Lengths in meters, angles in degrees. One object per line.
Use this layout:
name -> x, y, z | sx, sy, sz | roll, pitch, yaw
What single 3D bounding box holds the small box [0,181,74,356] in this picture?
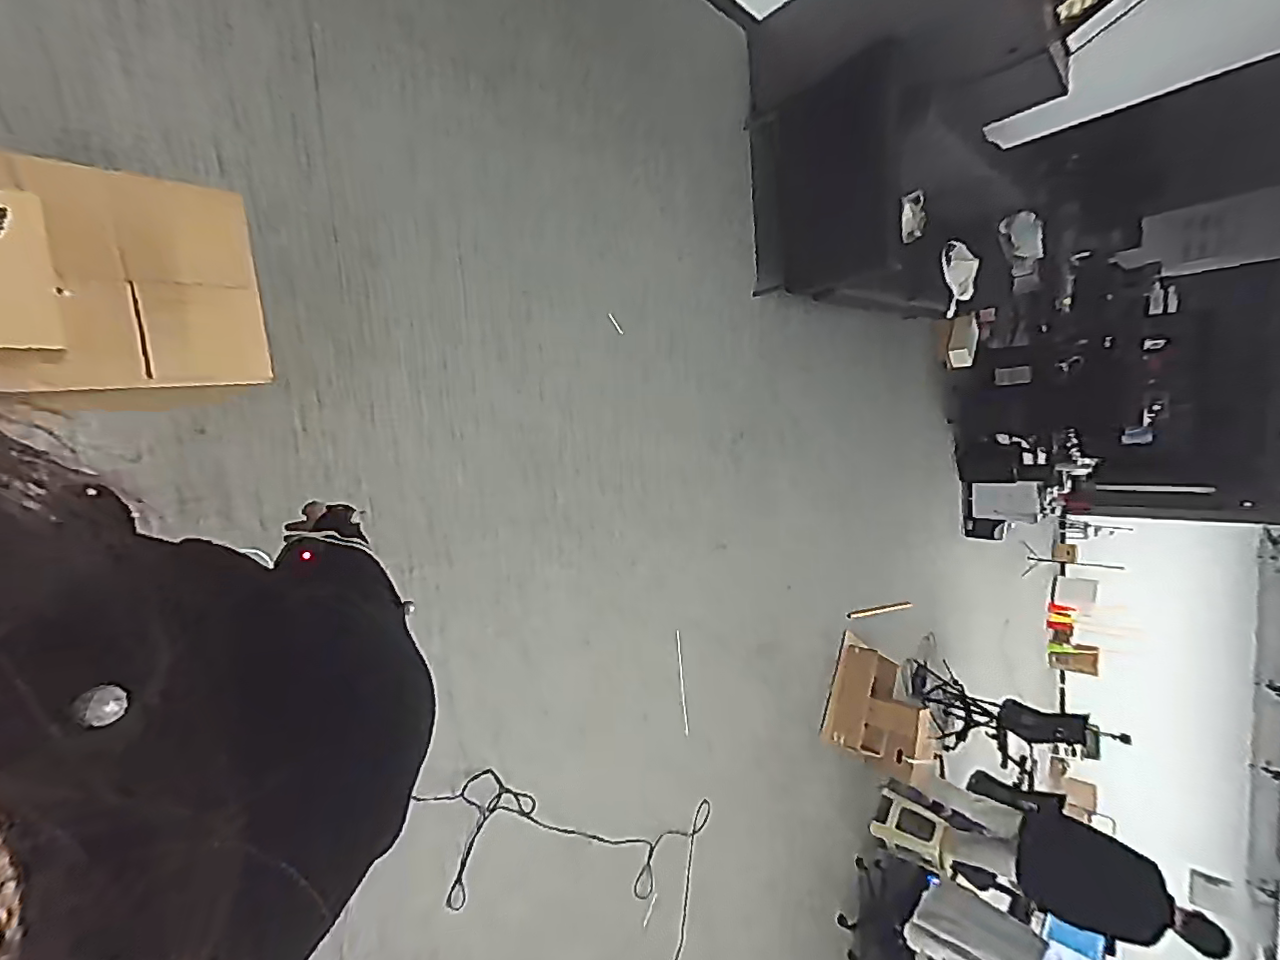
small box -> -0.793, -0.245, 0.630 | 0.168, 0.176, 0.179 | -10, 102, -45
